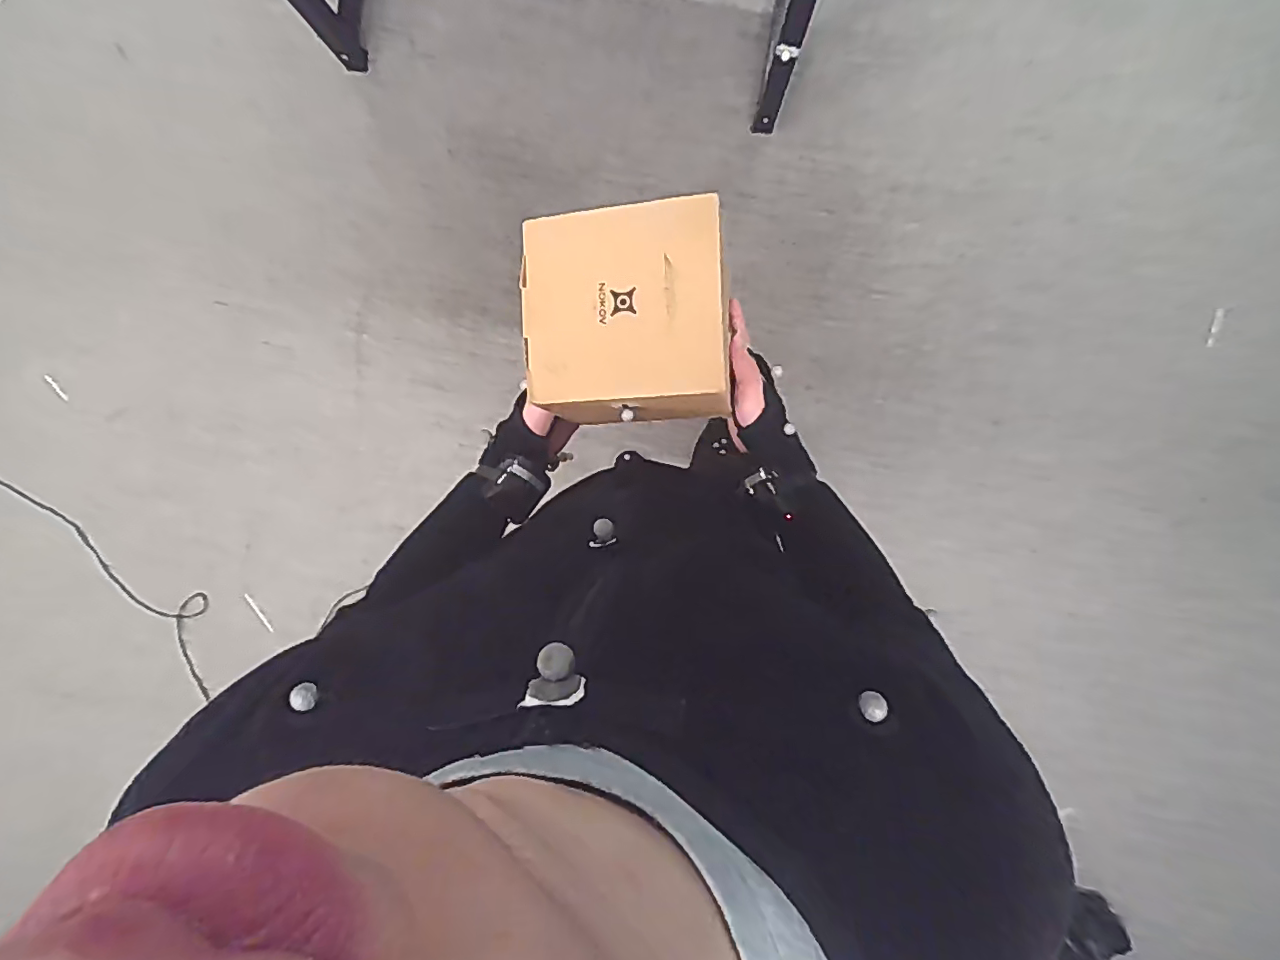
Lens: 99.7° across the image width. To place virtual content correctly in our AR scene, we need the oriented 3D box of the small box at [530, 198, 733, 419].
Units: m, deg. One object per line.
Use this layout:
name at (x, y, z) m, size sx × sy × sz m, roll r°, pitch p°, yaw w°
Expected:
small box at (0.002, -0.155, 0.550) m, size 0.179 × 0.176 × 0.168 m, roll -2°, pitch 90°, yaw 10°
